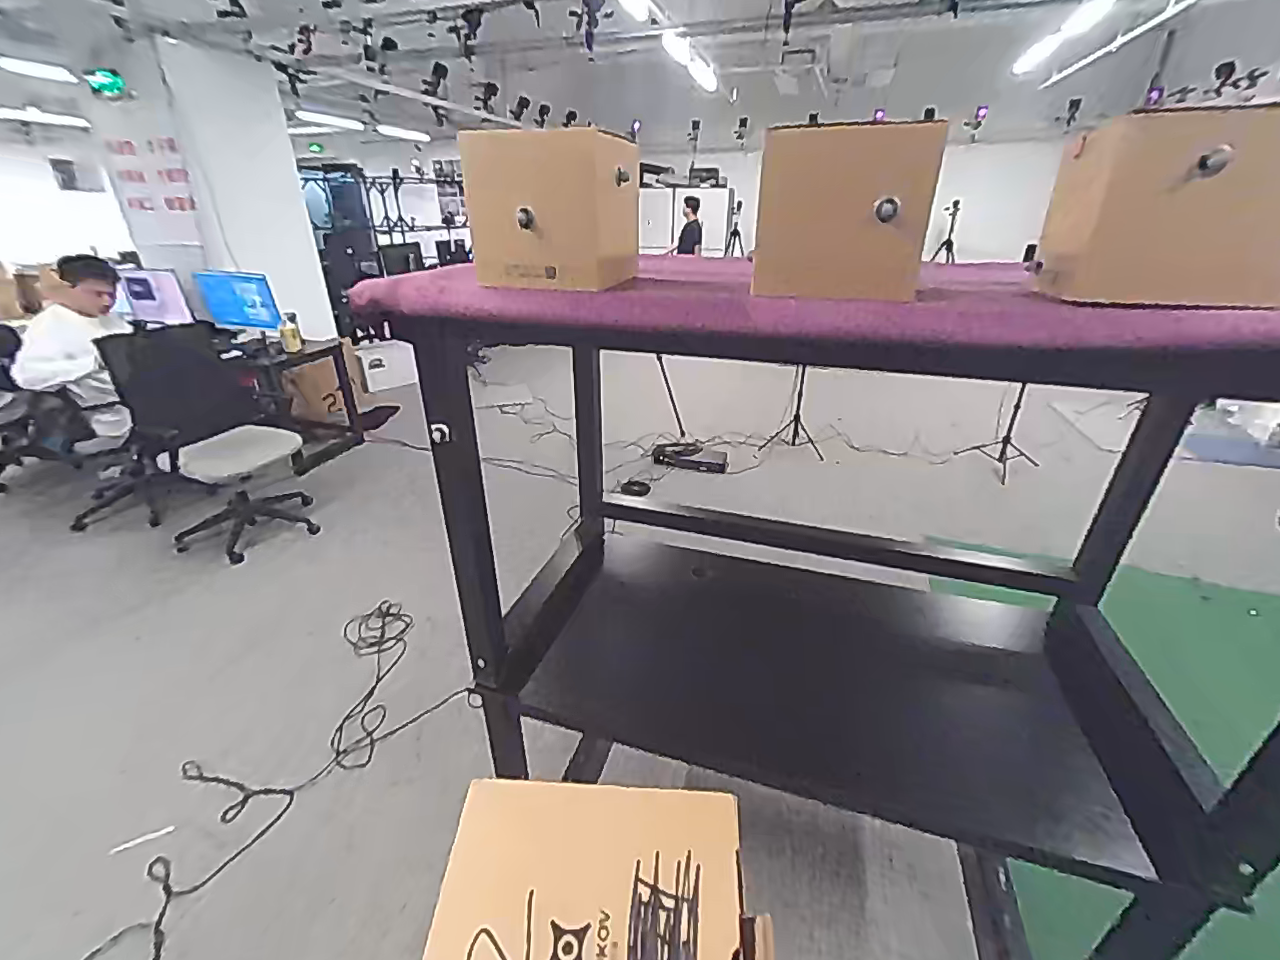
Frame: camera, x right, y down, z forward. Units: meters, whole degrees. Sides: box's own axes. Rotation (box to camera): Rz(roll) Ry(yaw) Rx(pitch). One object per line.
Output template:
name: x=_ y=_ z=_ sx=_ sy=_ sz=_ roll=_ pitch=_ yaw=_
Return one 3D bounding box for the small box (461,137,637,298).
small box: x=-0.104 y=-0.335 z=0.703 sx=0.168 sy=0.176 sz=0.179 roll=8 pitch=27 yaw=13

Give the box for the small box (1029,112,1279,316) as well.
small box: x=0.547 y=-0.269 z=0.574 sx=0.179 sy=0.176 sz=0.168 roll=9 pitch=25 yaw=17

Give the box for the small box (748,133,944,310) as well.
small box: x=0.231 y=-0.299 z=0.640 sx=0.179 sy=0.176 sz=0.168 roll=7 pitch=26 yaw=15
